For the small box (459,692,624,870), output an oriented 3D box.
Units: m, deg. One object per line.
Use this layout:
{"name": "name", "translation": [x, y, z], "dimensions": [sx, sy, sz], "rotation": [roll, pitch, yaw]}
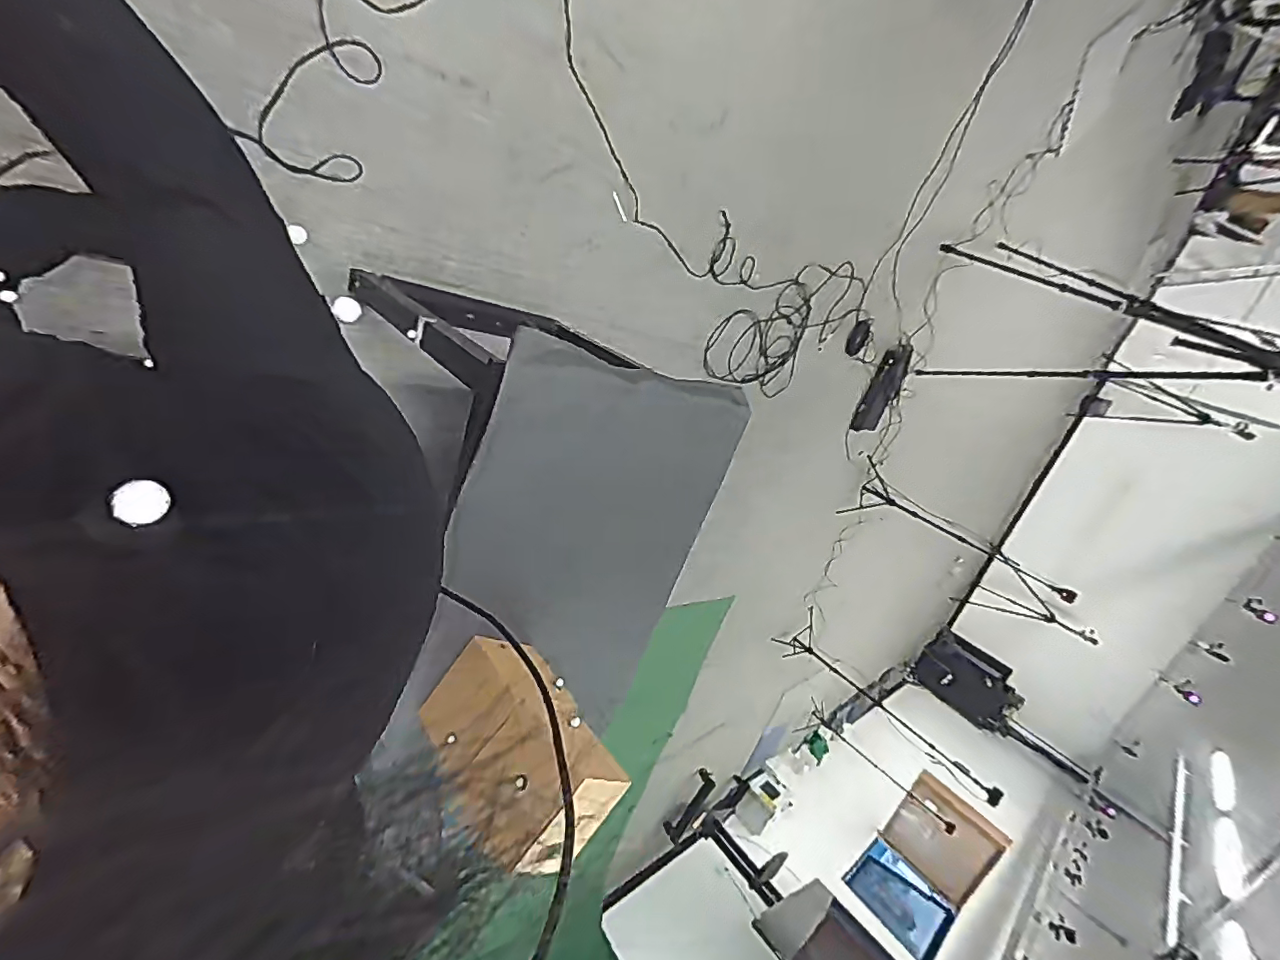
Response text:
{"name": "small box", "translation": [-0.164, 0.480, 0.872], "dimensions": [0.179, 0.176, 0.168], "rotation": [-49, 142, -7]}
